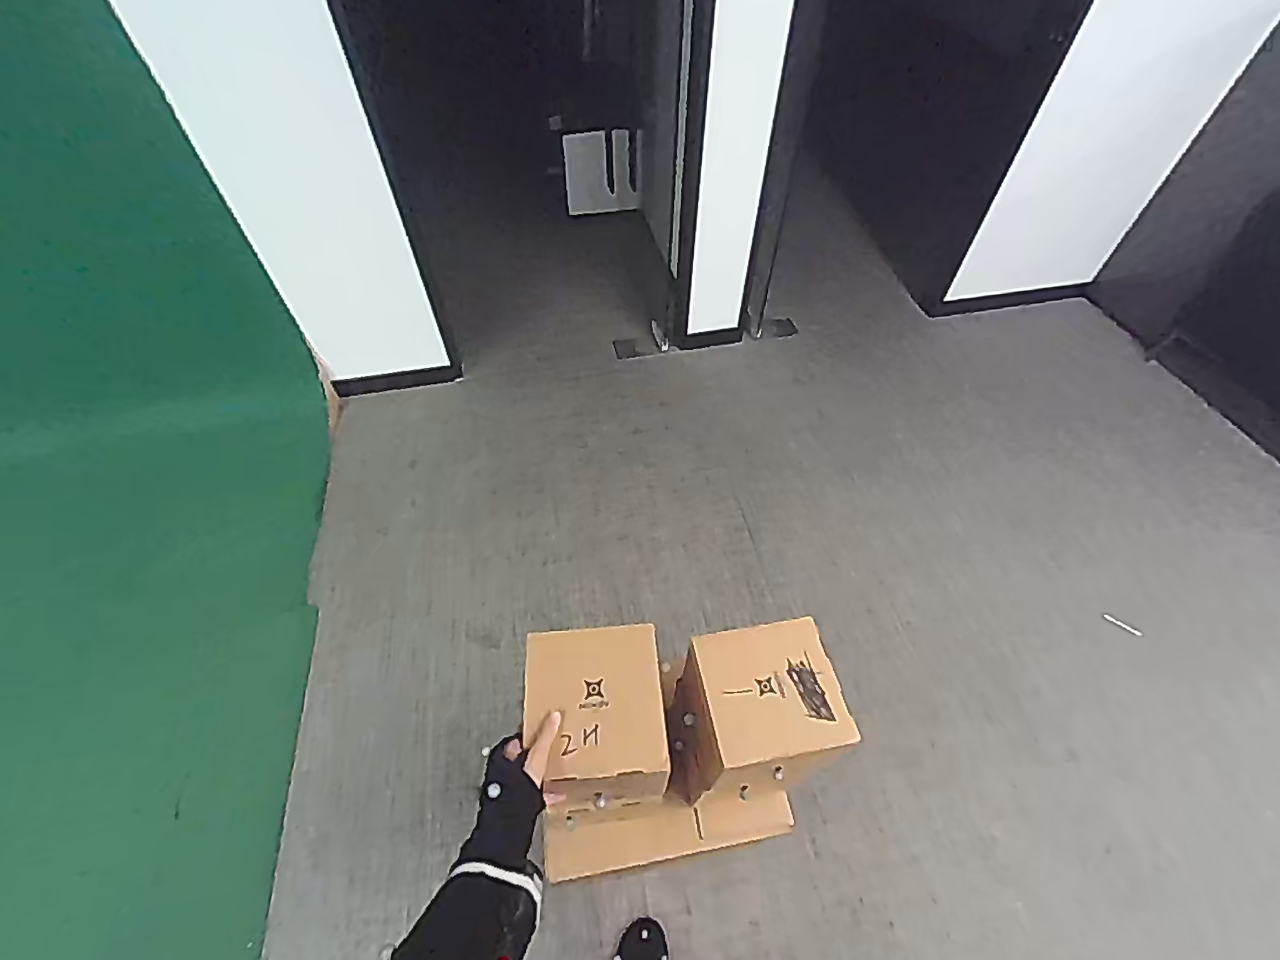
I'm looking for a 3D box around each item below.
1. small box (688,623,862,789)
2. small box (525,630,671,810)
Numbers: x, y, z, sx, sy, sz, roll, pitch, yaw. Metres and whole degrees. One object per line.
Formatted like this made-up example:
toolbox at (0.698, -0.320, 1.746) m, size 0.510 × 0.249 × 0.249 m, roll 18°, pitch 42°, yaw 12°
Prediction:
small box at (0.171, 0.317, 0.752) m, size 0.179 × 0.176 × 0.168 m, roll -6°, pitch 53°, yaw -5°
small box at (-0.053, 0.317, 0.713) m, size 0.168 × 0.176 × 0.179 m, roll -4°, pitch 52°, yaw -3°
